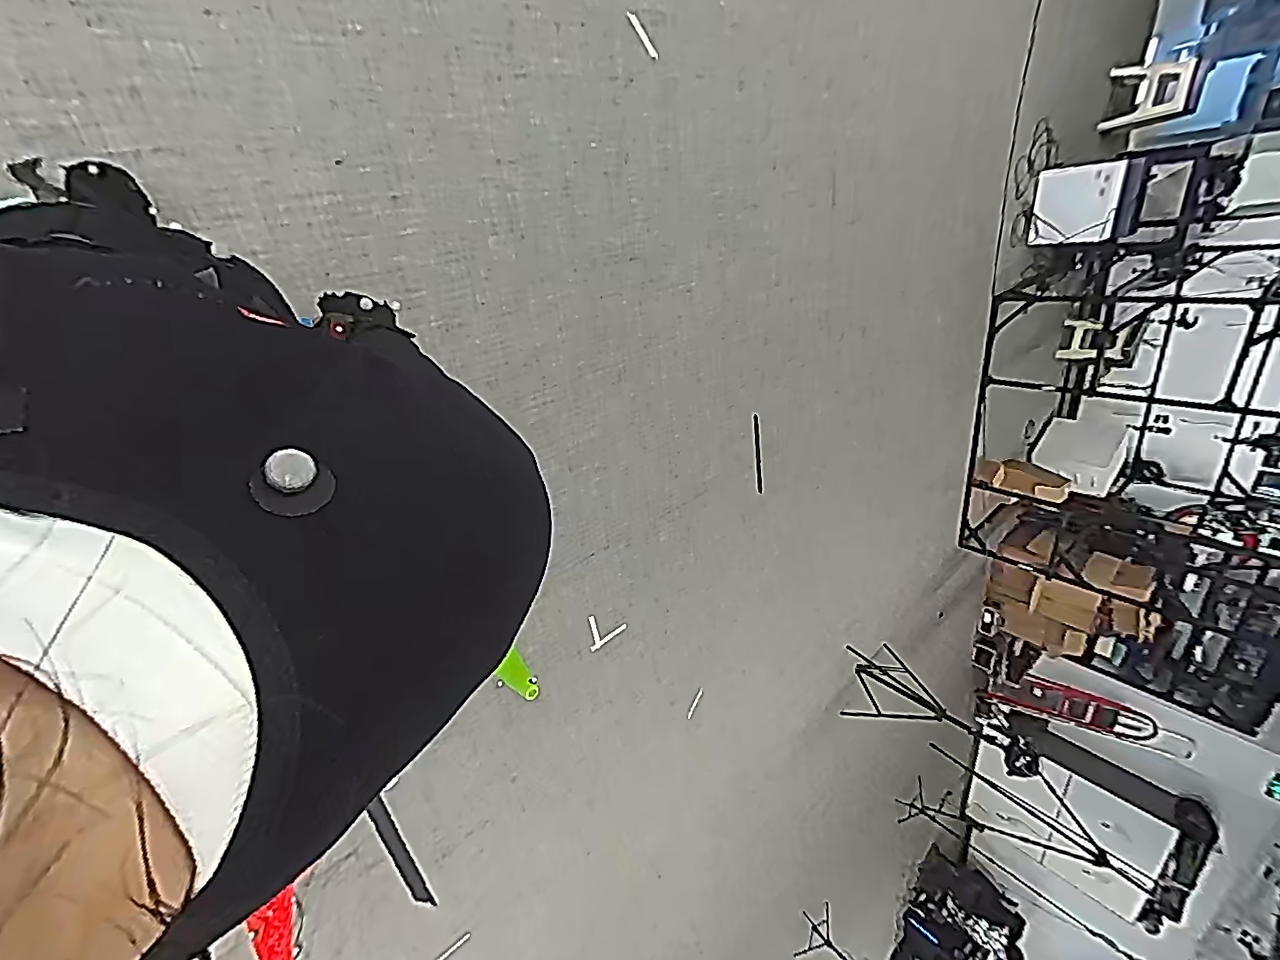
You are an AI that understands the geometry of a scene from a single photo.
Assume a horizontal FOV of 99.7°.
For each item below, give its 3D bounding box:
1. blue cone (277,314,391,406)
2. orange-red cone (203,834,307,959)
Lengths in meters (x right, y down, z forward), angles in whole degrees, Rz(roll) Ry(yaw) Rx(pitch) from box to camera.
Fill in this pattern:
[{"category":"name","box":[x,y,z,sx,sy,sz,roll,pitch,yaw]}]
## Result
[{"category":"blue cone","box":[-0.613,-0.236,1.142,0.192,0.380,0.193,-22,119,-35]},{"category":"orange-red cone","box":[-0.923,1.116,1.330,0.199,0.360,0.198,-20,116,-34]}]
